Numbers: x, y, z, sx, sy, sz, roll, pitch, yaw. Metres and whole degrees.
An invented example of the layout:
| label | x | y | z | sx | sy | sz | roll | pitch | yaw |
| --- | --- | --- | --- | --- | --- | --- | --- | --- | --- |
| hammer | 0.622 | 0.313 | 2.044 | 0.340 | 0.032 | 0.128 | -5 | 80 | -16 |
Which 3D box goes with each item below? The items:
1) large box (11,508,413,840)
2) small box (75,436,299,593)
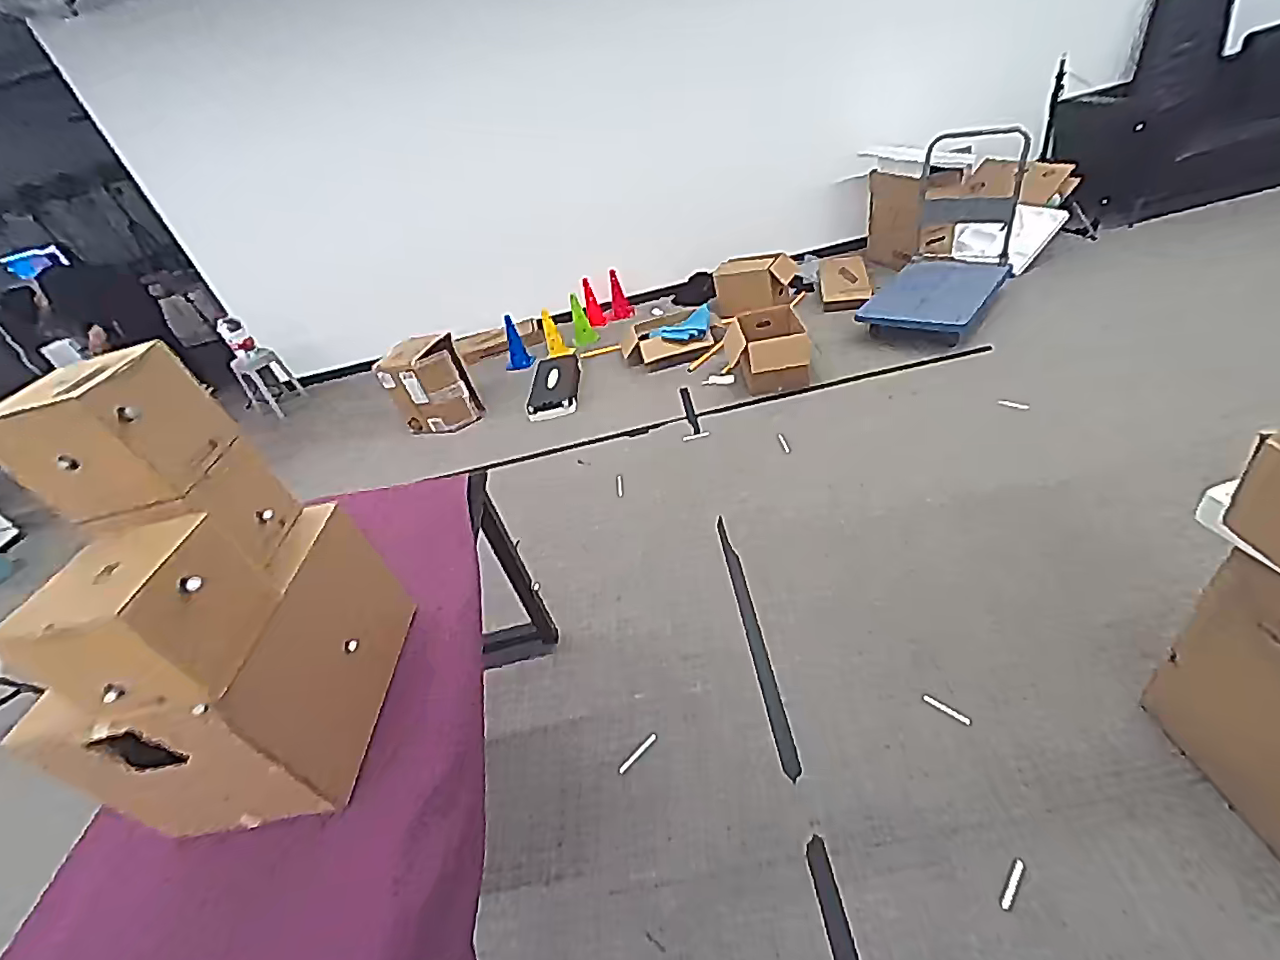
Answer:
| label | x | y | z | sx | sy | sz | roll | pitch | yaw |
| --- | --- | --- | --- | --- | --- | --- | --- | --- | --- |
| large box | -0.640 | 0.315 | 0.922 | 0.320 | 0.320 | 0.408 | -14 | 38 | 5 |
| small box | -0.702 | 0.058 | 0.864 | 0.179 | 0.176 | 0.168 | -13 | 38 | 4 |
